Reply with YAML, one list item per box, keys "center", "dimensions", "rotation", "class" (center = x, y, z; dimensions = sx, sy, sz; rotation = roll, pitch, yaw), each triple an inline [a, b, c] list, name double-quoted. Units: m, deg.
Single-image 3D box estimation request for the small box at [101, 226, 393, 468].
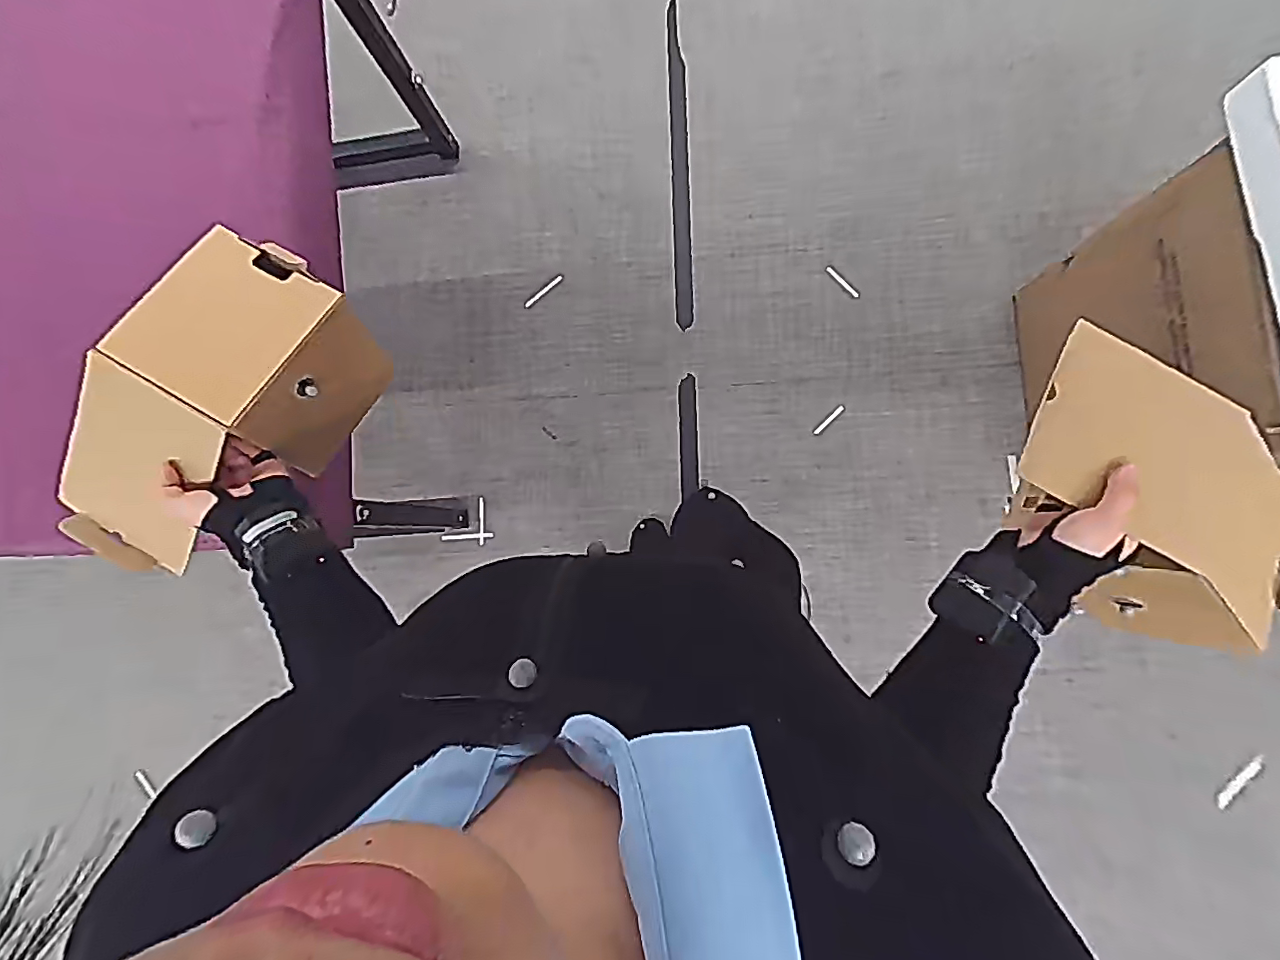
- center: [-0.421, -0.137, 0.620]
  dimensions: [0.168, 0.176, 0.179]
  rotation: [30, 74, 4]
  class: "small box"
